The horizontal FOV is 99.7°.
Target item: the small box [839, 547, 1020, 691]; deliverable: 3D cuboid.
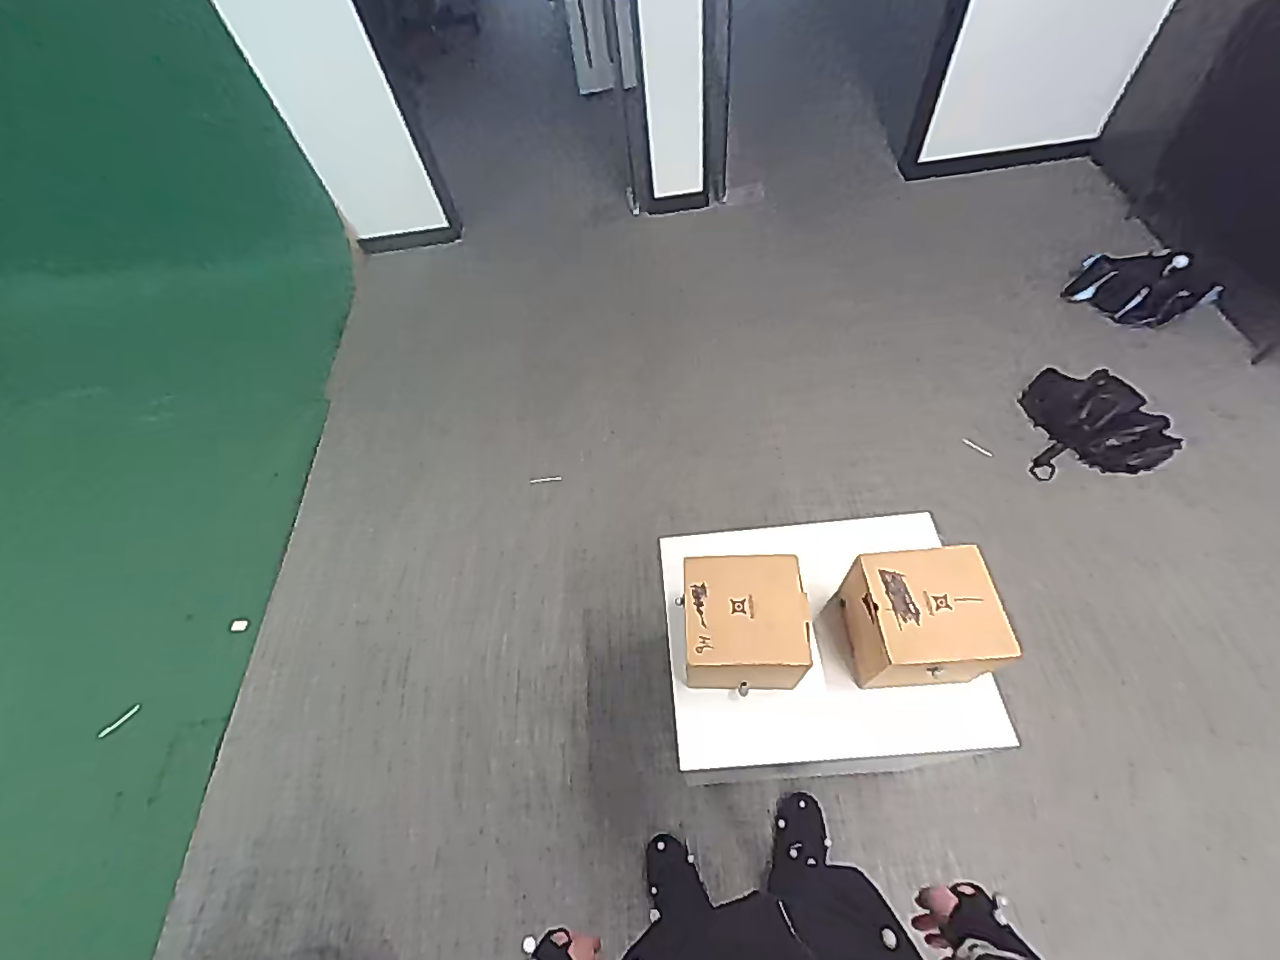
[{"bbox_3d":[0.419,0.217,0.826,0.179,0.176,0.168,-4,57,0],"label":"small box"}]
